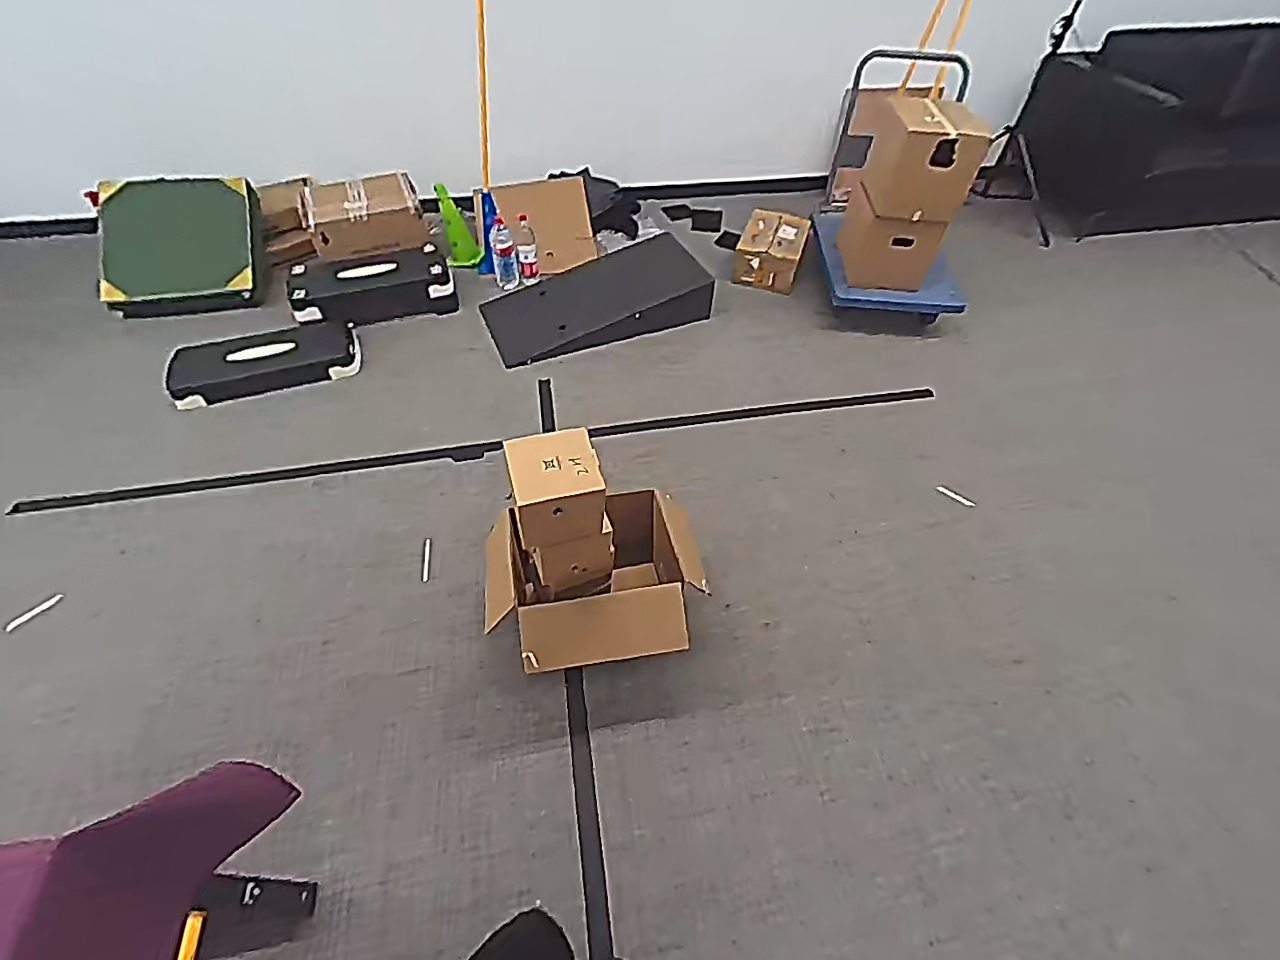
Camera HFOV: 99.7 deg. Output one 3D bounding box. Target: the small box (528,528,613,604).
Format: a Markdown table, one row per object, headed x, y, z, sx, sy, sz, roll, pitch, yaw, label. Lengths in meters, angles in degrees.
| x | y | z | sx | sy | sz | roll | pitch | yaw | label |
| --- | --- | --- | --- | --- | --- | --- | --- | --- | --- |
| -0.184 | 0.196 | 1.413 | 0.179 | 0.176 | 0.168 | -23 | 59 | -23 | small box |

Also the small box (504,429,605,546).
| x | y | z | sx | sy | sz | roll | pitch | yaw | label |
| --- | --- | --- | --- | --- | --- | --- | --- | --- | --- |
| -0.177 | 0.020 | 1.133 | 0.179 | 0.176 | 0.168 | -11 | 56 | -15 | small box |
